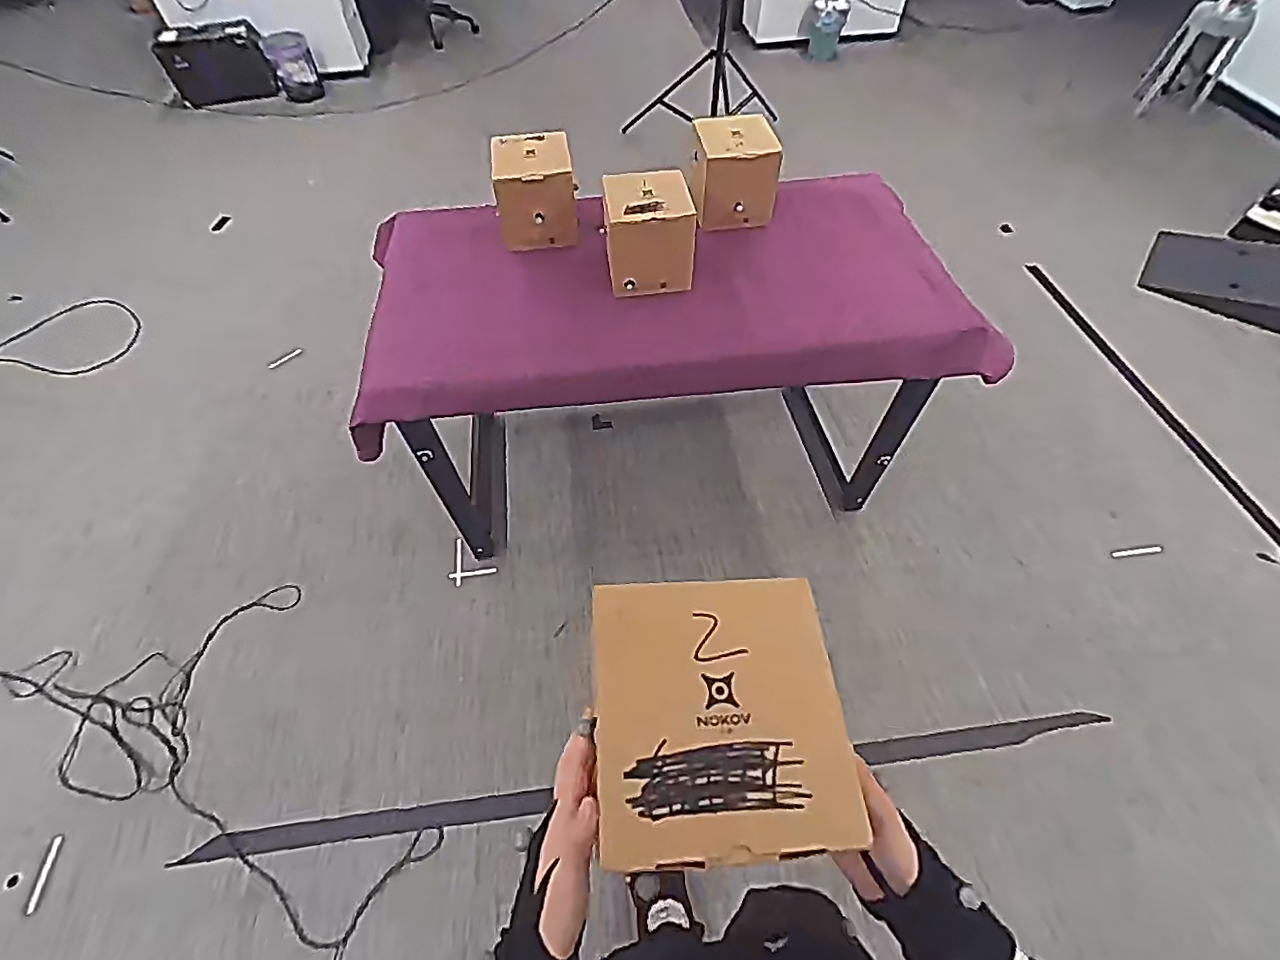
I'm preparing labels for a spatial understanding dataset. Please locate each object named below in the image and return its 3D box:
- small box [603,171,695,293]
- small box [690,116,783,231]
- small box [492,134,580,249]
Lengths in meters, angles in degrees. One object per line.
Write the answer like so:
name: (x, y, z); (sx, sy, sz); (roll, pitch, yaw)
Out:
small box: (0.017, -0.506, 1.122); (0.168, 0.176, 0.179); (-7, 56, -4)
small box: (0.212, -0.705, 1.249); (0.168, 0.176, 0.179); (-8, 58, -3)
small box: (-0.229, -0.638, 1.212); (0.168, 0.176, 0.179); (-7, 59, -4)
